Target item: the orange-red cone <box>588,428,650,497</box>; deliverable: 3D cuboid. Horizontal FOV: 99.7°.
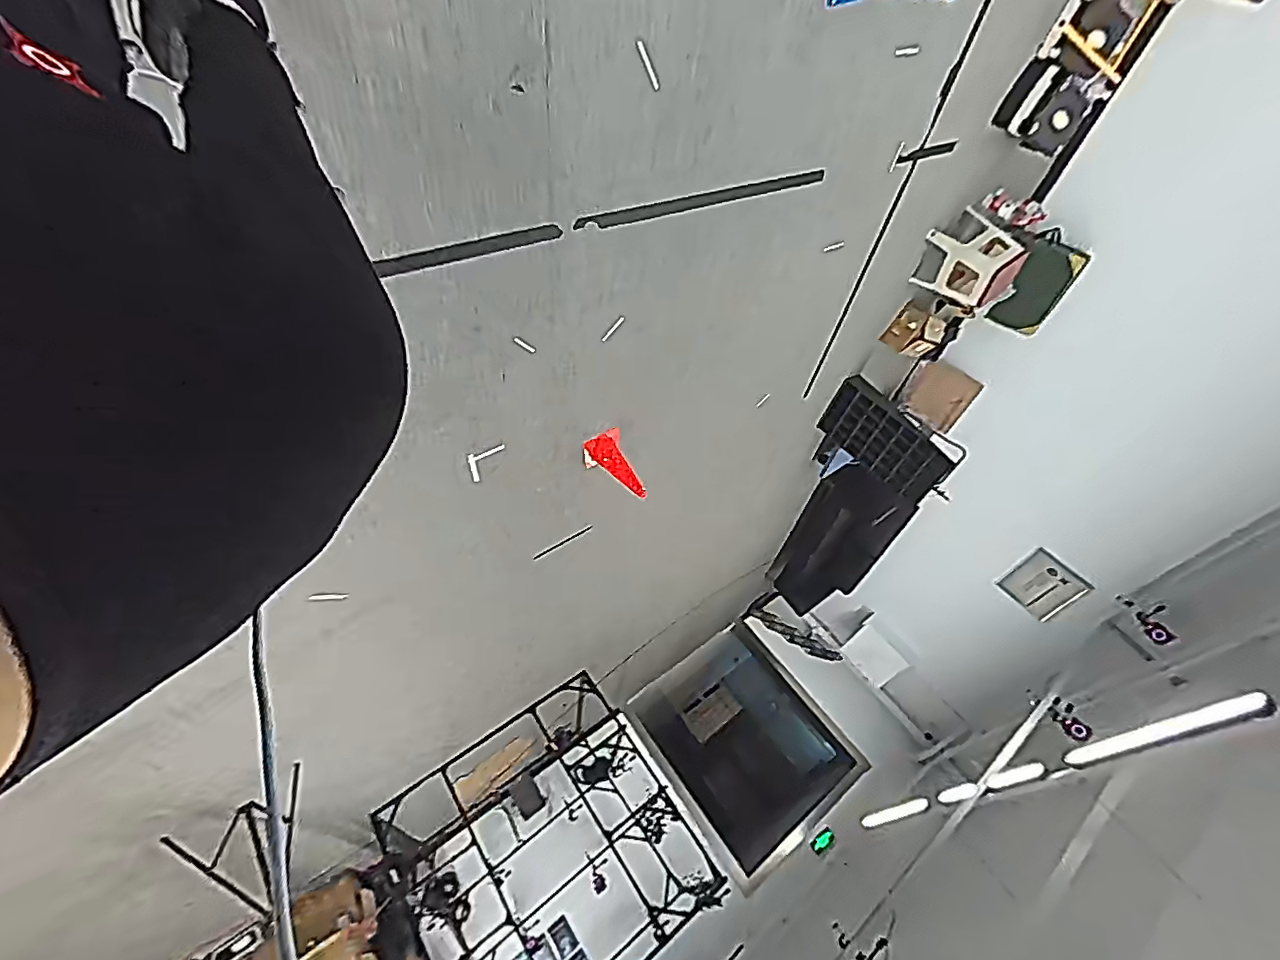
[{"bbox_3d":[-0.071,-0.051,2.586,0.199,0.360,0.198,-31,152,-23],"label":"orange-red cone"}]
